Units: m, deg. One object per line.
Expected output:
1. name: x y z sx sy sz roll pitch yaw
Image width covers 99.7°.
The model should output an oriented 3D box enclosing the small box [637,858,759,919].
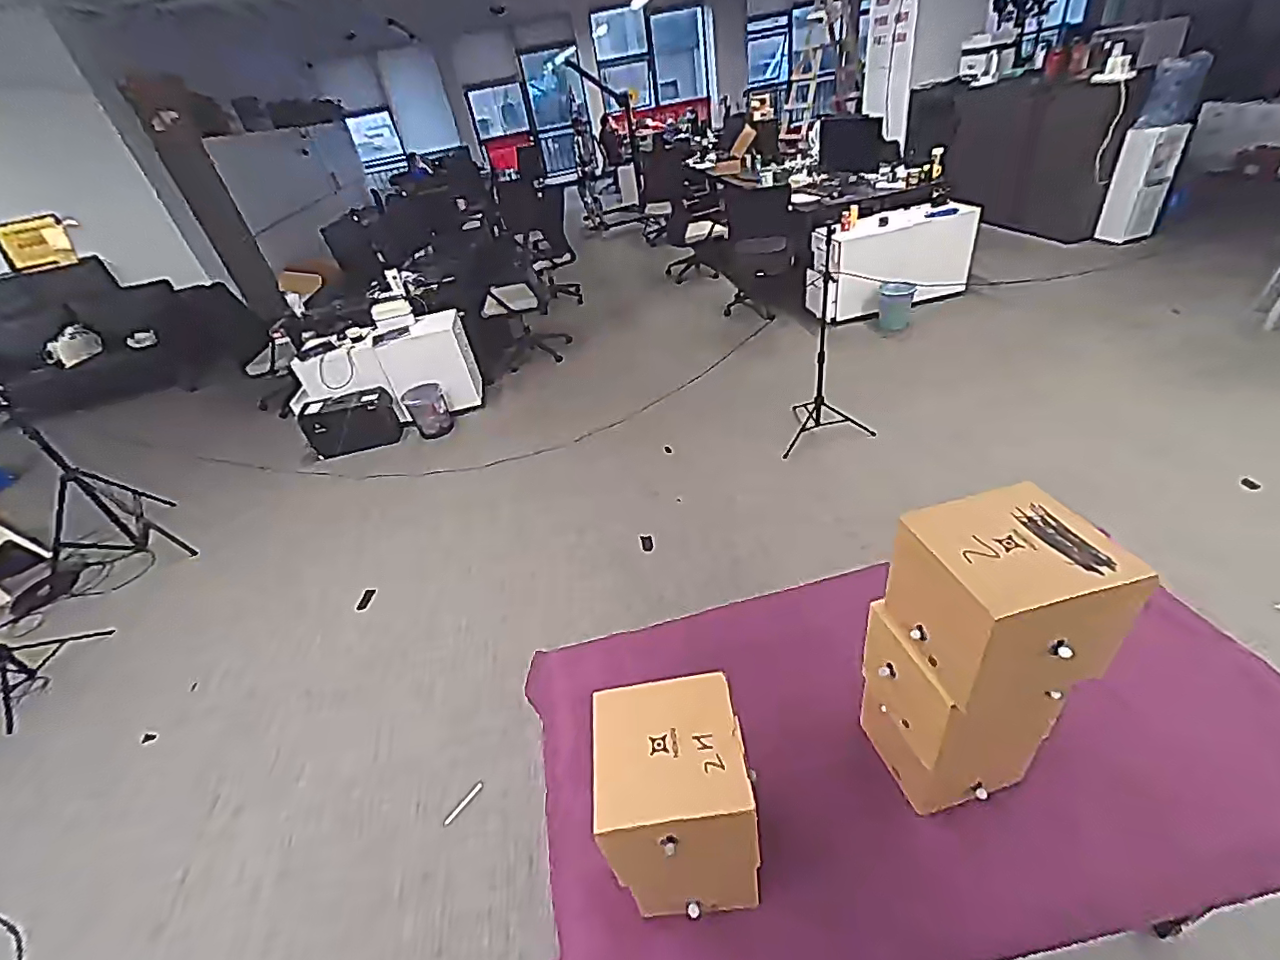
1. small box: 0.074 0.497 0.780 0.168 0.176 0.179 -8 37 4

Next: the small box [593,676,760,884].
1. small box: 0.044 0.375 0.674 0.179 0.176 0.168 -9 37 2

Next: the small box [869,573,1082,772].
1. small box: 0.431 0.260 0.730 0.179 0.176 0.168 -15 35 -6

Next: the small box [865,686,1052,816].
1. small box: 0.473 0.379 0.835 0.179 0.176 0.168 -15 35 -6
